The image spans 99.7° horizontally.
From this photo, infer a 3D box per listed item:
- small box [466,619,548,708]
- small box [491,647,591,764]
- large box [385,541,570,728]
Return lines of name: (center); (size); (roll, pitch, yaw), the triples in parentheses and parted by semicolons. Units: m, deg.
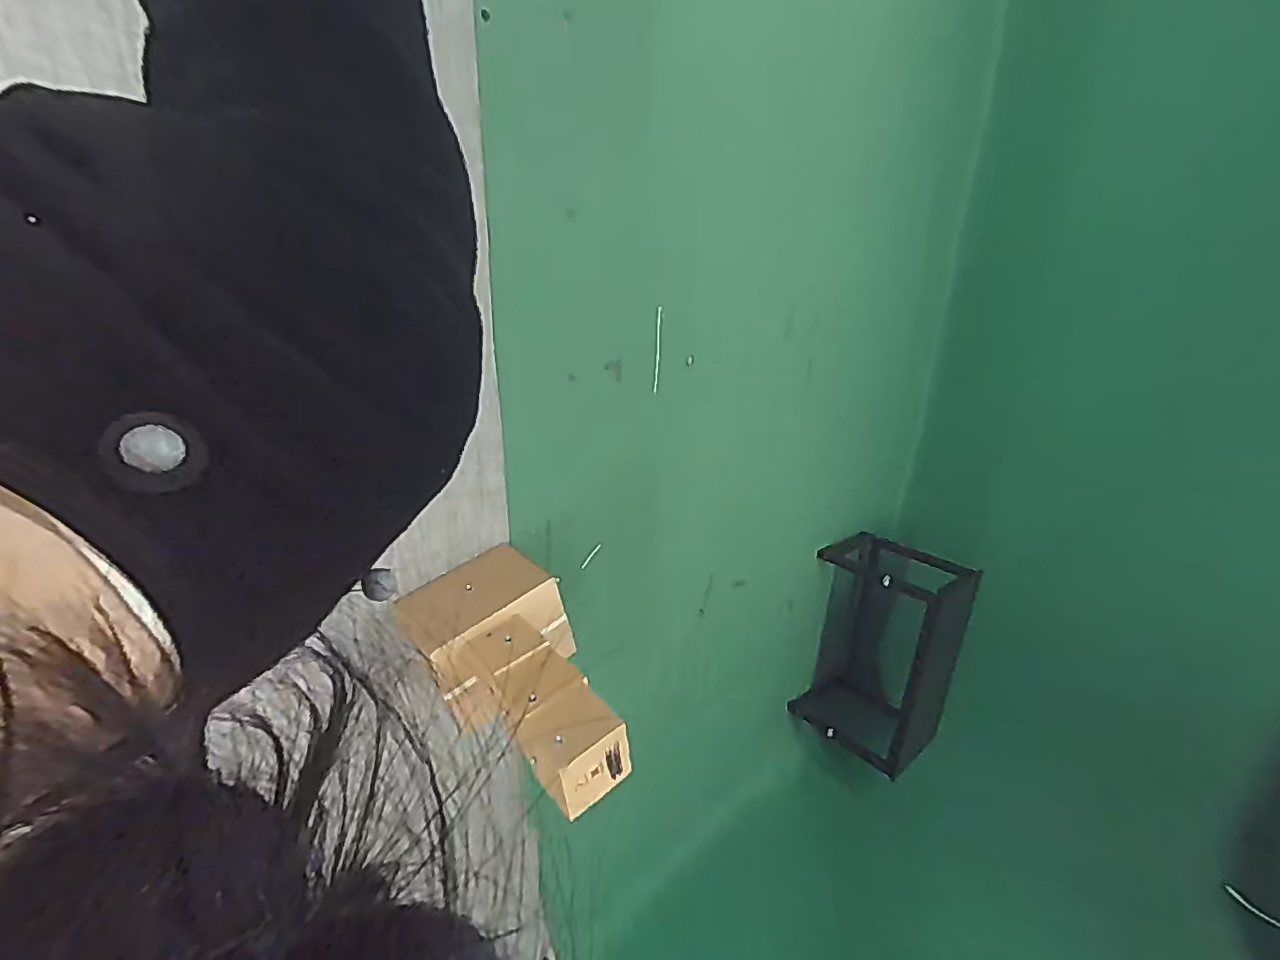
small box: (-0.353, 0.504, 1.470); (0.168, 0.176, 0.179); (-24, 121, -34)
small box: (-0.248, 0.555, 1.357); (0.179, 0.176, 0.168); (-23, 120, -35)
large box: (-0.492, 0.454, 1.671); (0.408, 0.320, 0.320); (-31, 126, -33)
